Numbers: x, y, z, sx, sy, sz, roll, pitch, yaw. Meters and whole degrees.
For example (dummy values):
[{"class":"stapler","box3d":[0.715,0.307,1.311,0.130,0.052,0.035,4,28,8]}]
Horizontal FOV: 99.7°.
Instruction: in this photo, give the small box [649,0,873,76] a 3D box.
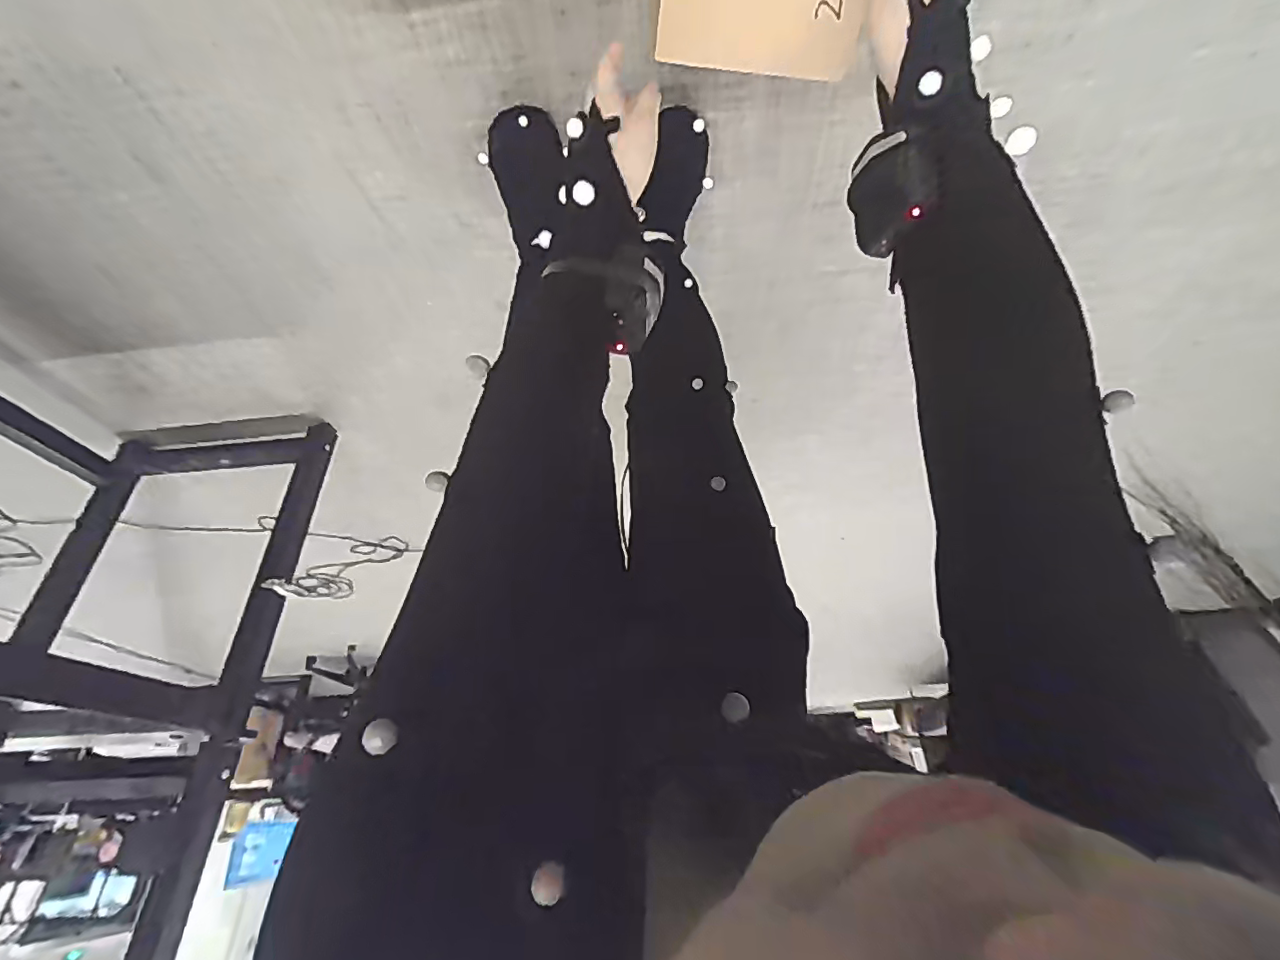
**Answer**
[{"class":"small box","box3d":[0.101,-0.467,0.435,0.179,0.176,0.168,2,149,-6]}]
